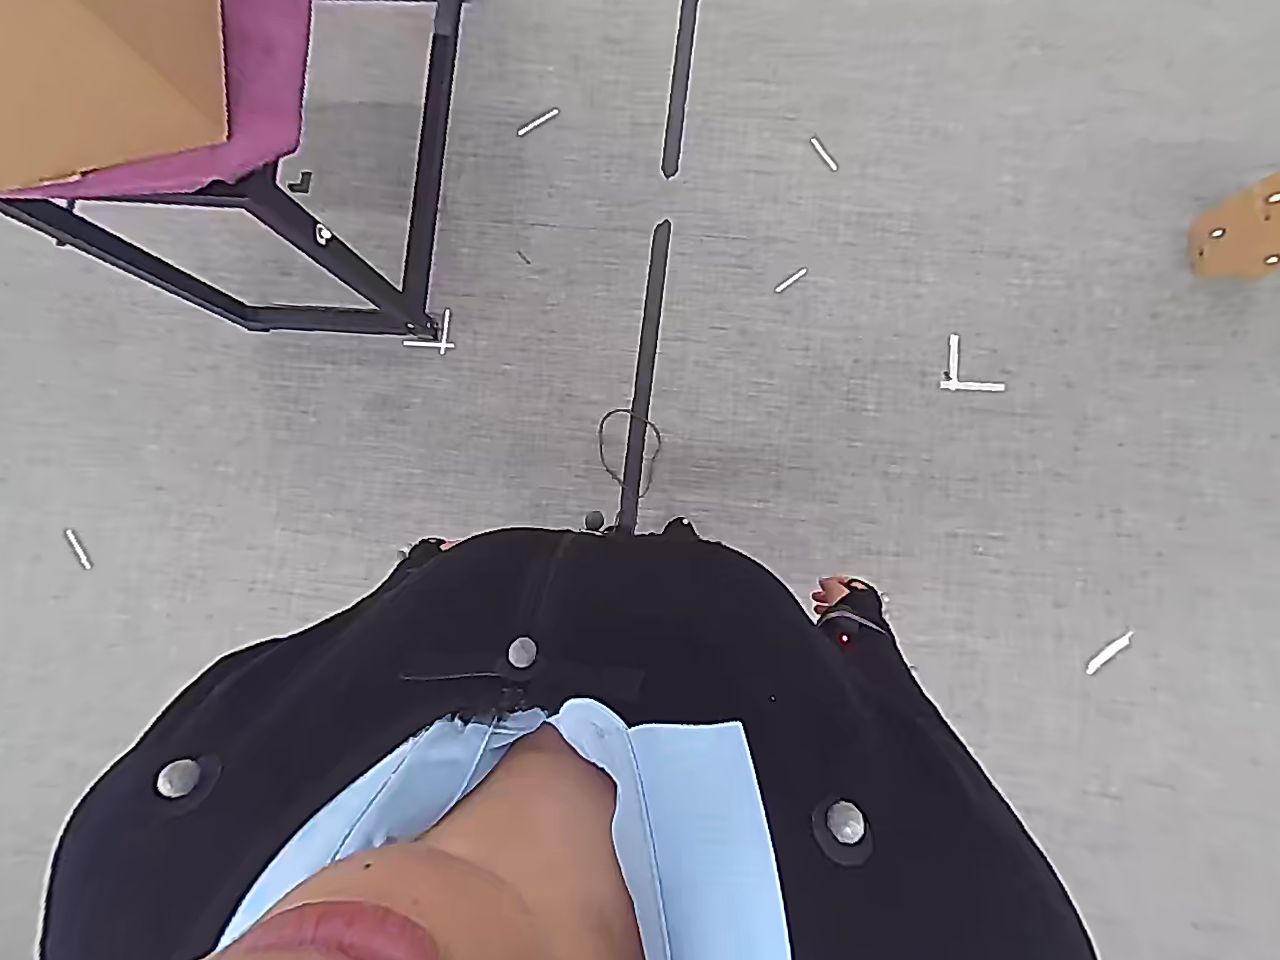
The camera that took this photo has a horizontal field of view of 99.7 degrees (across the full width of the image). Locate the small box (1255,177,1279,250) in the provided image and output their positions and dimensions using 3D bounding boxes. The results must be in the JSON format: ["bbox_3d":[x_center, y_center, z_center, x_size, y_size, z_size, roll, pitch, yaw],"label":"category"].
[{"bbox_3d":[1.616,-0.654,1.261,0.179,0.176,0.168,3,85,4],"label":"small box"}]

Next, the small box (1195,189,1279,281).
[{"bbox_3d":[1.623,-0.639,1.424,0.179,0.176,0.168,2,85,2],"label":"small box"}]
